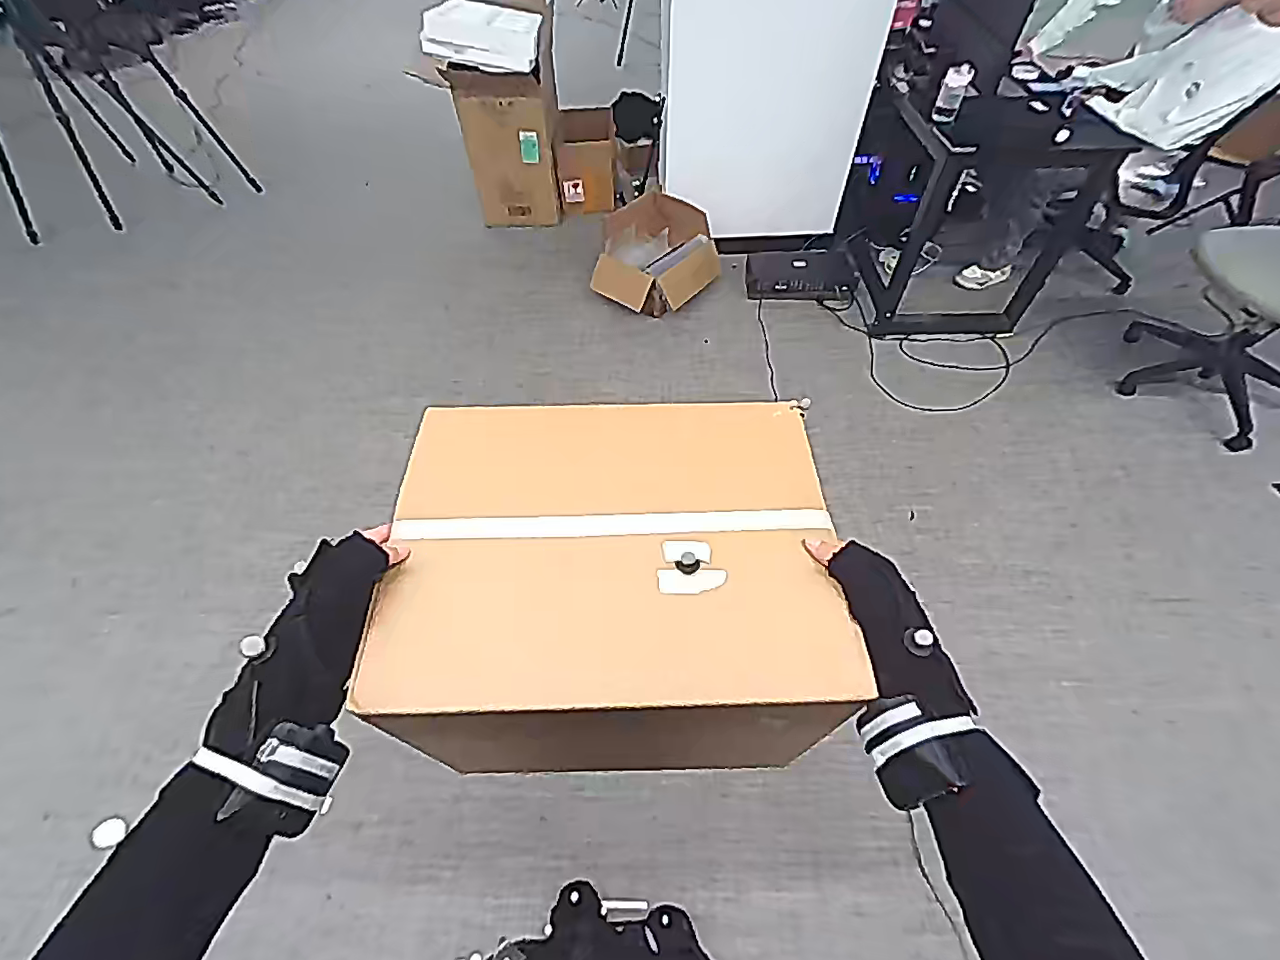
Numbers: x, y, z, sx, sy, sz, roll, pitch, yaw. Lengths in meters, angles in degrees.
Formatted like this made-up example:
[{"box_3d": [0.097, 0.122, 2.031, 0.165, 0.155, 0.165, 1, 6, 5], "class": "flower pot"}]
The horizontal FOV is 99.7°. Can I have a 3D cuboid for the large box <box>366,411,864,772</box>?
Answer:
[{"box_3d": [-0.024, 0.138, 0.631, 0.408, 0.320, 0.320, -1, 54, -1], "class": "large box"}]
